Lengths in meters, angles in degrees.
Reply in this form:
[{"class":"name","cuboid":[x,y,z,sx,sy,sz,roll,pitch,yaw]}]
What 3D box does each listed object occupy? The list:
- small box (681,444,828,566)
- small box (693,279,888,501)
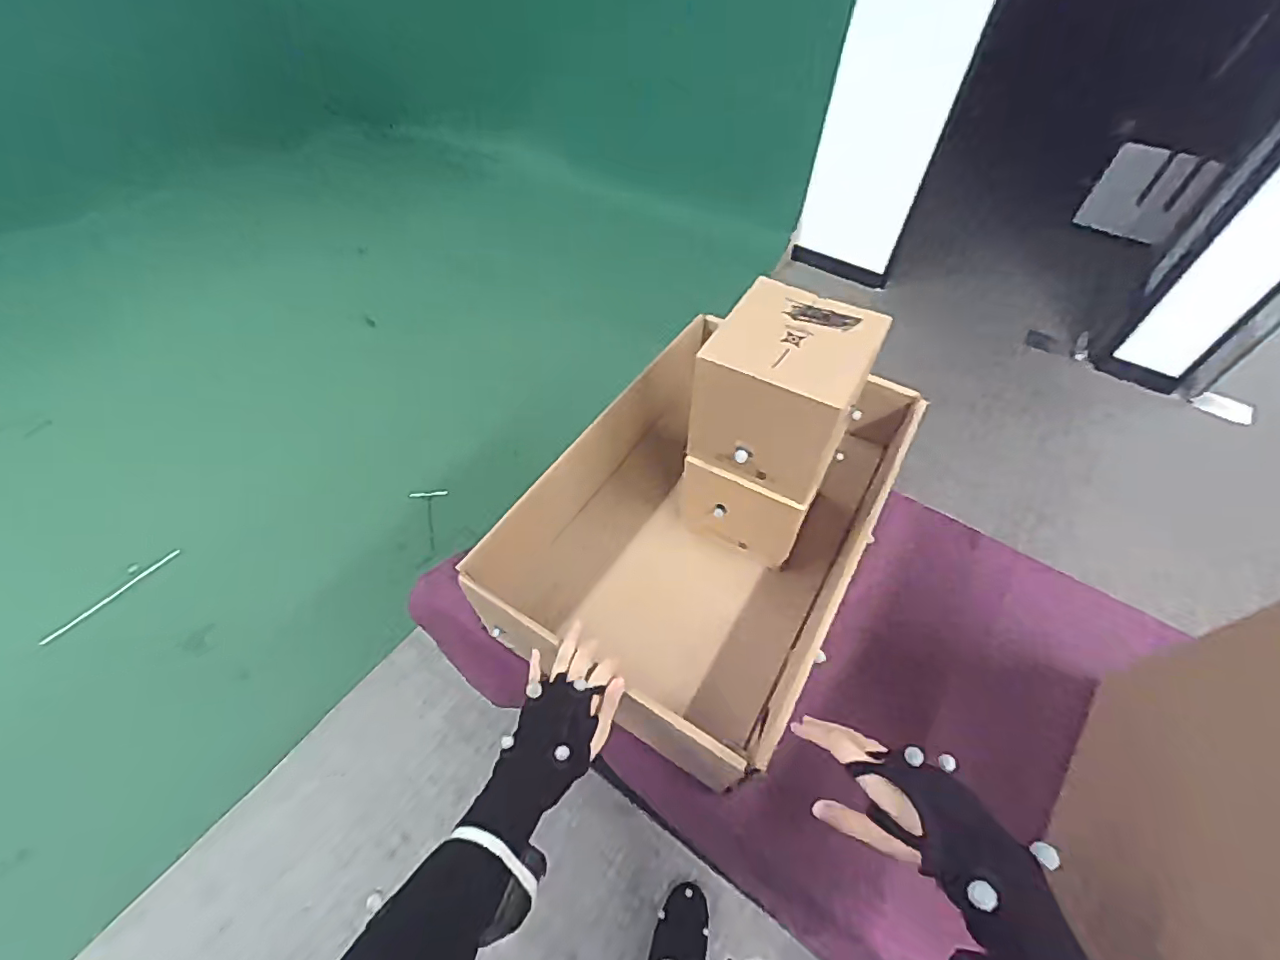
[{"class":"small box","cuboid":[0.170,-0.004,0.791,0.168,0.176,0.179,24,56,19]},{"class":"small box","cuboid":[0.173,-0.109,0.665,0.168,0.176,0.179,25,58,19]}]
